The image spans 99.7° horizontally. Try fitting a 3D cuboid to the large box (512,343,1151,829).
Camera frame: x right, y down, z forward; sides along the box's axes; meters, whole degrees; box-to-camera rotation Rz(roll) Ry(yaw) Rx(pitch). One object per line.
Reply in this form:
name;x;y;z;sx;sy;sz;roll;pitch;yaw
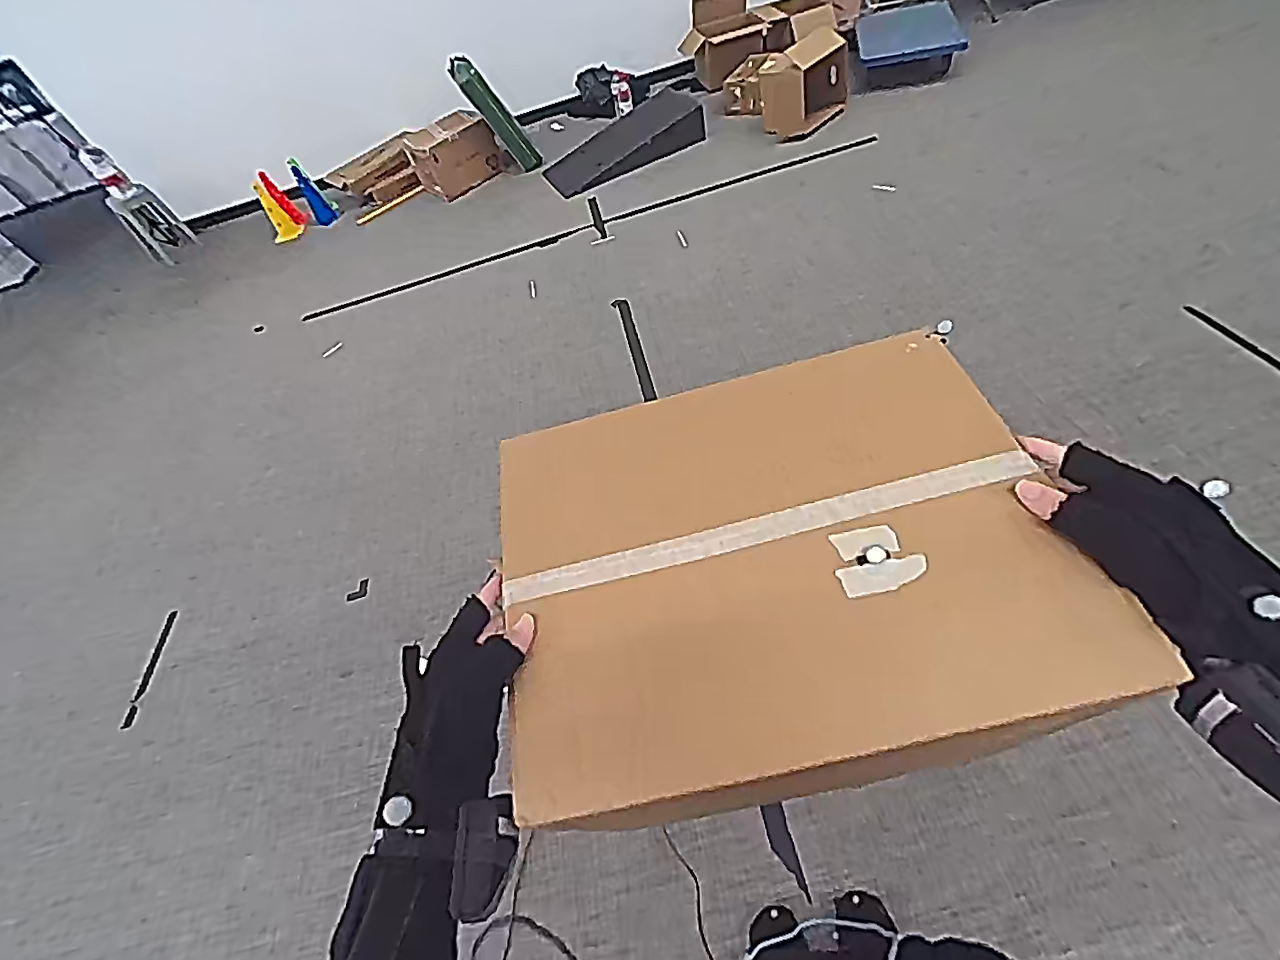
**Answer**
large box;0.122;0.126;0.543;0.408;0.320;0.320;-15;56;3
